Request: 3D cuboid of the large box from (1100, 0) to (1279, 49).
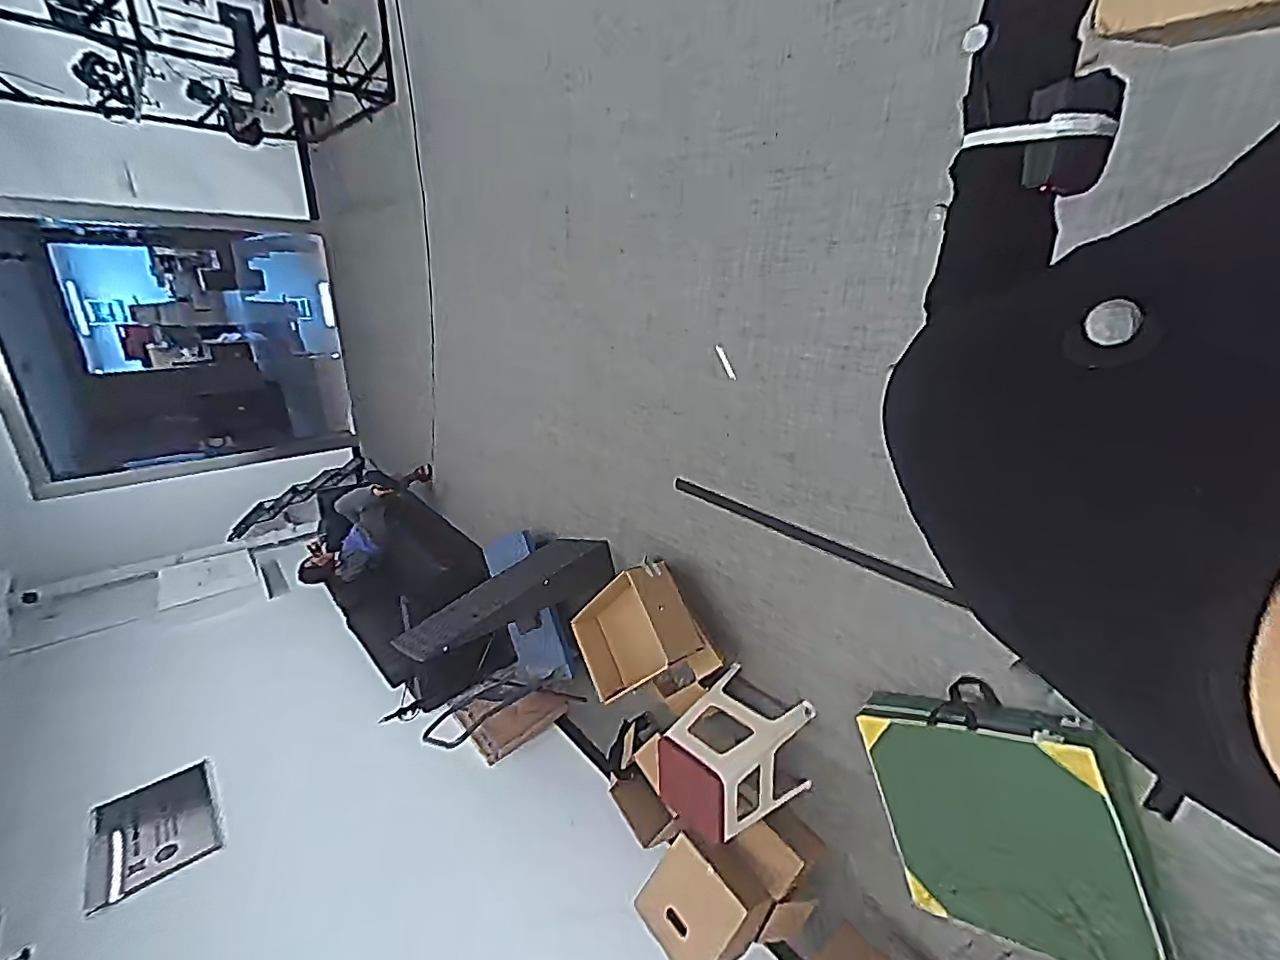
[{"bbox_3d":[0.514,-0.433,0.233,0.408,0.320,0.320,20,131,41],"label":"large box"}]
